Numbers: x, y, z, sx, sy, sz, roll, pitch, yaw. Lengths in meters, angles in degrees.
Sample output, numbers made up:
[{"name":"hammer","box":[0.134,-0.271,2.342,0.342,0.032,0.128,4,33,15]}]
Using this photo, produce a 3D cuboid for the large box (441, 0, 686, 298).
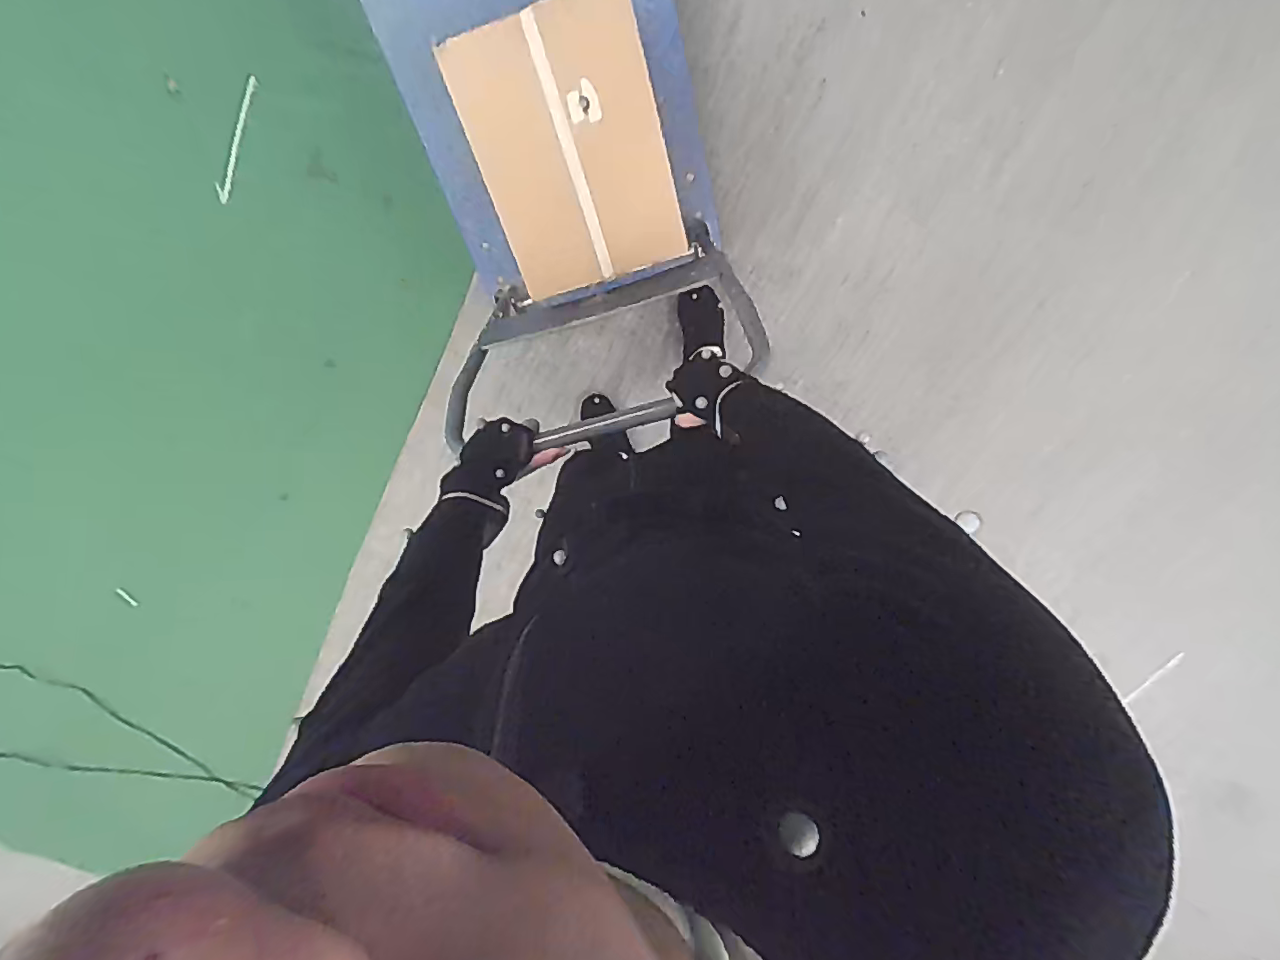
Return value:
[{"name":"large box","box":[-0.114,-0.627,1.059,0.320,0.320,0.408,-14,121,8]}]
